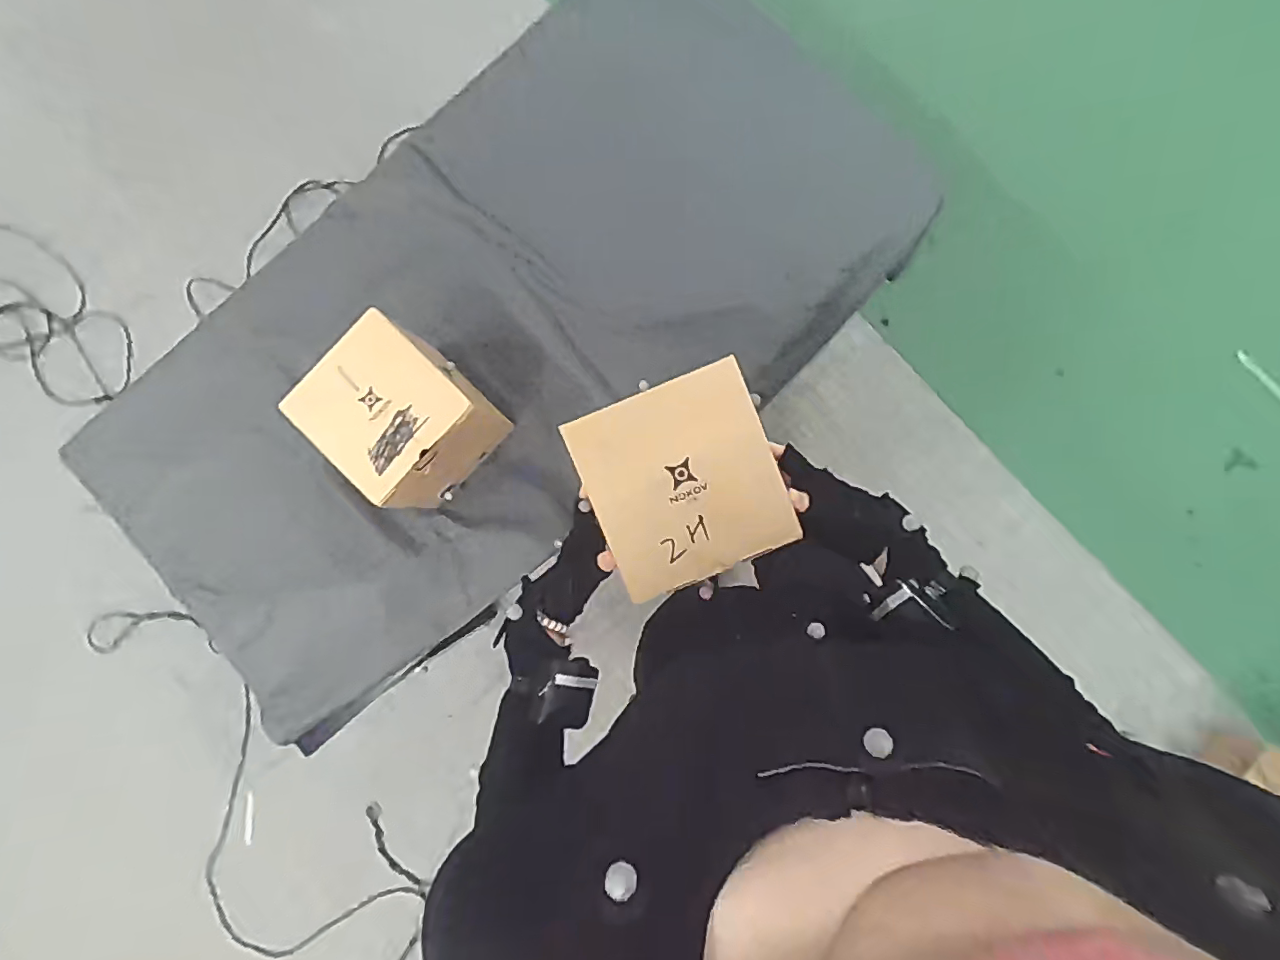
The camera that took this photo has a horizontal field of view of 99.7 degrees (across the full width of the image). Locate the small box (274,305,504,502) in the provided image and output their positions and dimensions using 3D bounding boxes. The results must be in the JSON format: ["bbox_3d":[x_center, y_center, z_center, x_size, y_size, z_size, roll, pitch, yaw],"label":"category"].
[{"bbox_3d":[-0.309,-0.088,0.707,0.179,0.176,0.168,44,90,5],"label":"small box"}]

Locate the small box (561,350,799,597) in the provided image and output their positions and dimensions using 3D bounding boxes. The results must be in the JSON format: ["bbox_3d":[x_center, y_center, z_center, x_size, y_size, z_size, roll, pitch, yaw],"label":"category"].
[{"bbox_3d":[0.033,-0.010,0.548,0.168,0.176,0.179,-22,96,0],"label":"small box"}]
